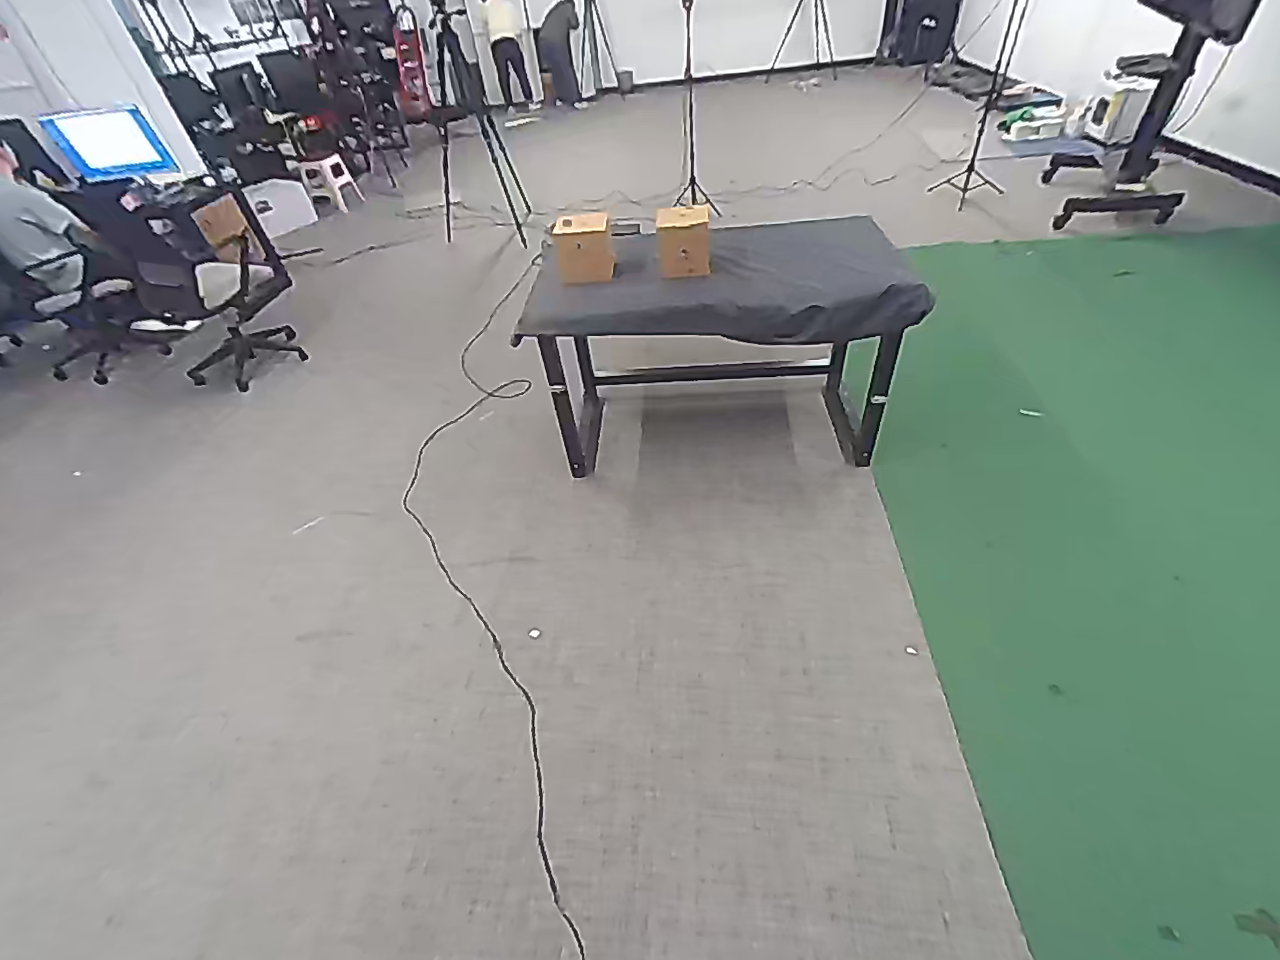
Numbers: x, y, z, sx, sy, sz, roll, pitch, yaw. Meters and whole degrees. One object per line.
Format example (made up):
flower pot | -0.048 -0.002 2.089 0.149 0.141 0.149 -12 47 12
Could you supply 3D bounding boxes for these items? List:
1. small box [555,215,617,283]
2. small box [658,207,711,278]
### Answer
small box | -0.176 -0.780 1.835 0.179 0.176 0.168 -2 44 4
small box | 0.153 -0.783 1.795 0.168 0.176 0.179 -1 44 7
